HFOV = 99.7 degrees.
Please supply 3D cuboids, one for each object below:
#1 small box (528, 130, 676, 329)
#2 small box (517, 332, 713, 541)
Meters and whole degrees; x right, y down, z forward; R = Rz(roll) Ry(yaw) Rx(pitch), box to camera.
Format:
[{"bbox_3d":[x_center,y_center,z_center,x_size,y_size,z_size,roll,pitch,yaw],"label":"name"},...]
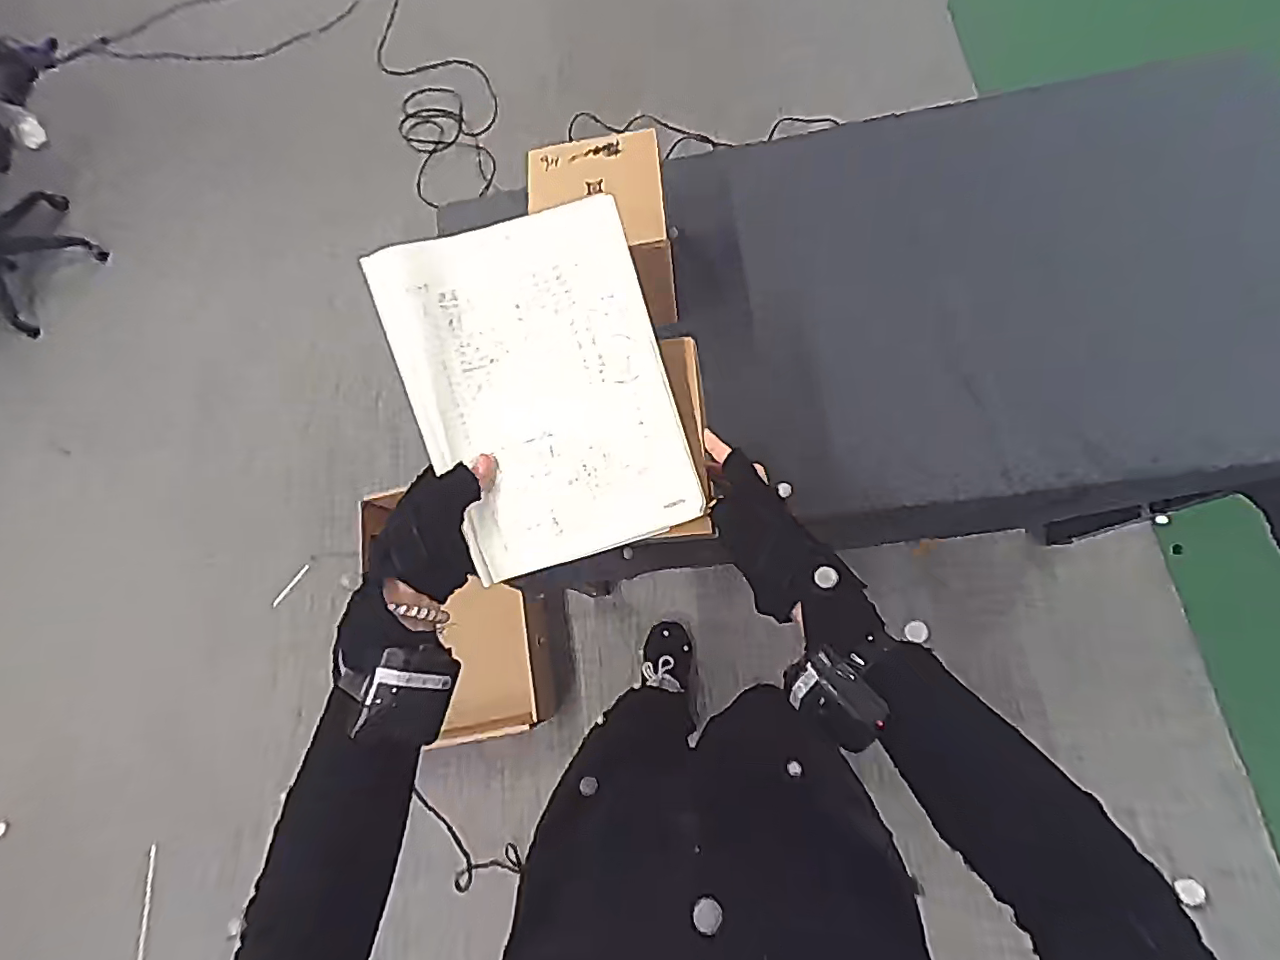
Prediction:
[{"bbox_3d":[-0.044,-0.320,0.729,0.168,0.176,0.179,-6,73,6],"label":"small box"},{"bbox_3d":[-0.015,-0.030,0.555,0.168,0.176,0.179,-5,82,8],"label":"small box"}]
